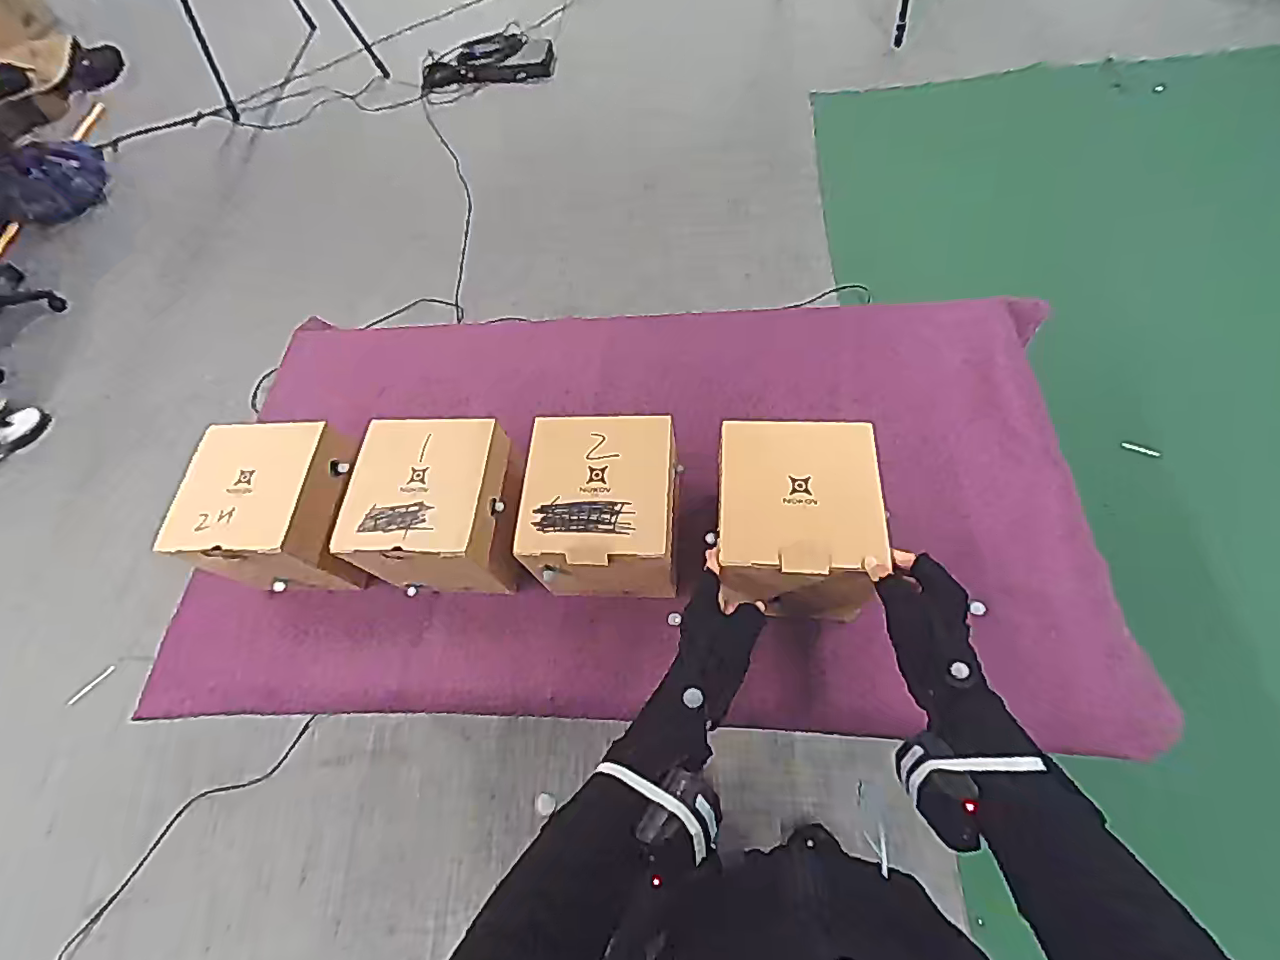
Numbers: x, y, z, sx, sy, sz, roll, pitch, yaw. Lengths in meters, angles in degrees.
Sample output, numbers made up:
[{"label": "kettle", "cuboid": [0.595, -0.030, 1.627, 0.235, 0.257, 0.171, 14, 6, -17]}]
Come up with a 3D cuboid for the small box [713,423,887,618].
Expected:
[{"label": "small box", "cuboid": [0.173, 0.051, 0.641, 0.168, 0.176, 0.179, 2, 61, 7]}]

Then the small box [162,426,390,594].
[{"label": "small box", "cuboid": [-0.471, 0.045, 0.735, 0.168, 0.176, 0.179, -1, 63, 7]}]
